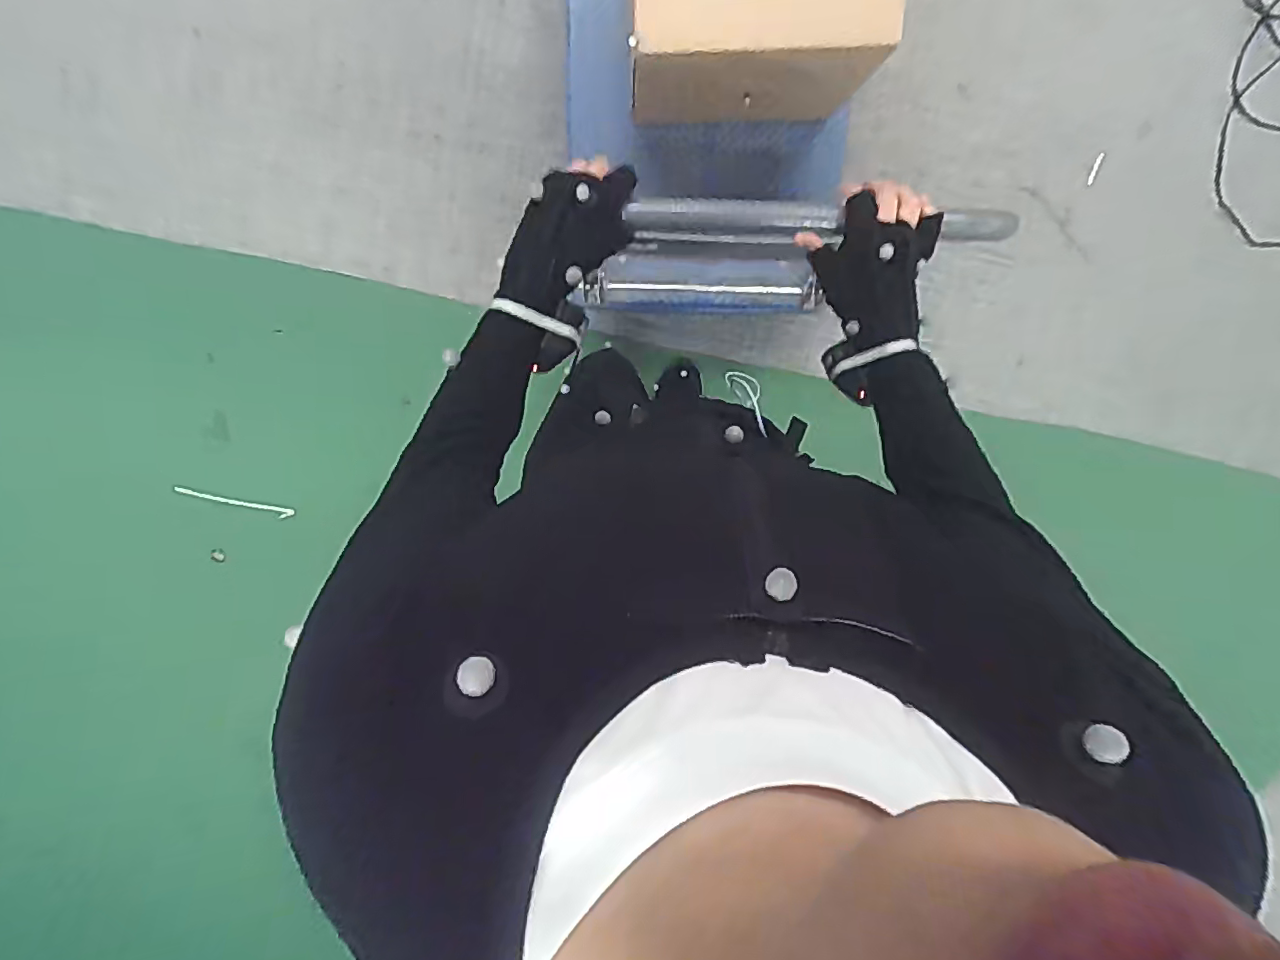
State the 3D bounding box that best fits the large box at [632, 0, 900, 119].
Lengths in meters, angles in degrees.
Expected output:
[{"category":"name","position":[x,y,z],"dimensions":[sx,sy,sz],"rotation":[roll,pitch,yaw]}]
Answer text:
[{"category":"large box","position":[0.189,-0.850,0.925],"dimensions":[0.408,0.320,0.320],"rotation":[-2,106,0]}]
